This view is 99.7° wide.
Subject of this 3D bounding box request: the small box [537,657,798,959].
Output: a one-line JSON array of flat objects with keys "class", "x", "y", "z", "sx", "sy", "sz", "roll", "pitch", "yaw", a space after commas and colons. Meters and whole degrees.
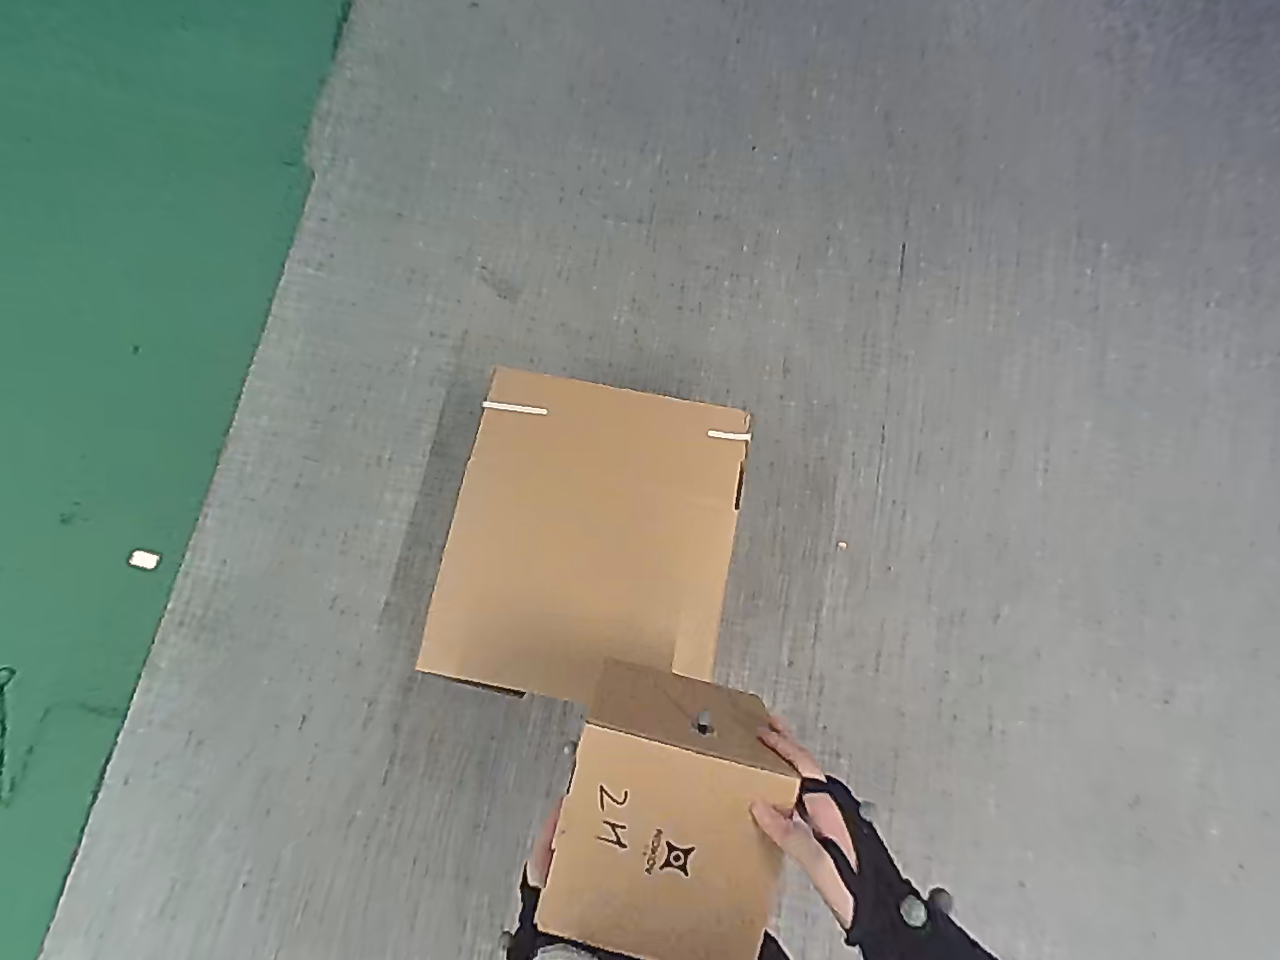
[{"class": "small box", "x": 0.024, "y": 0.284, "z": 0.506, "sx": 0.179, "sy": 0.176, "sz": 0.168, "roll": 14, "pitch": 89, "yaw": 2}]
